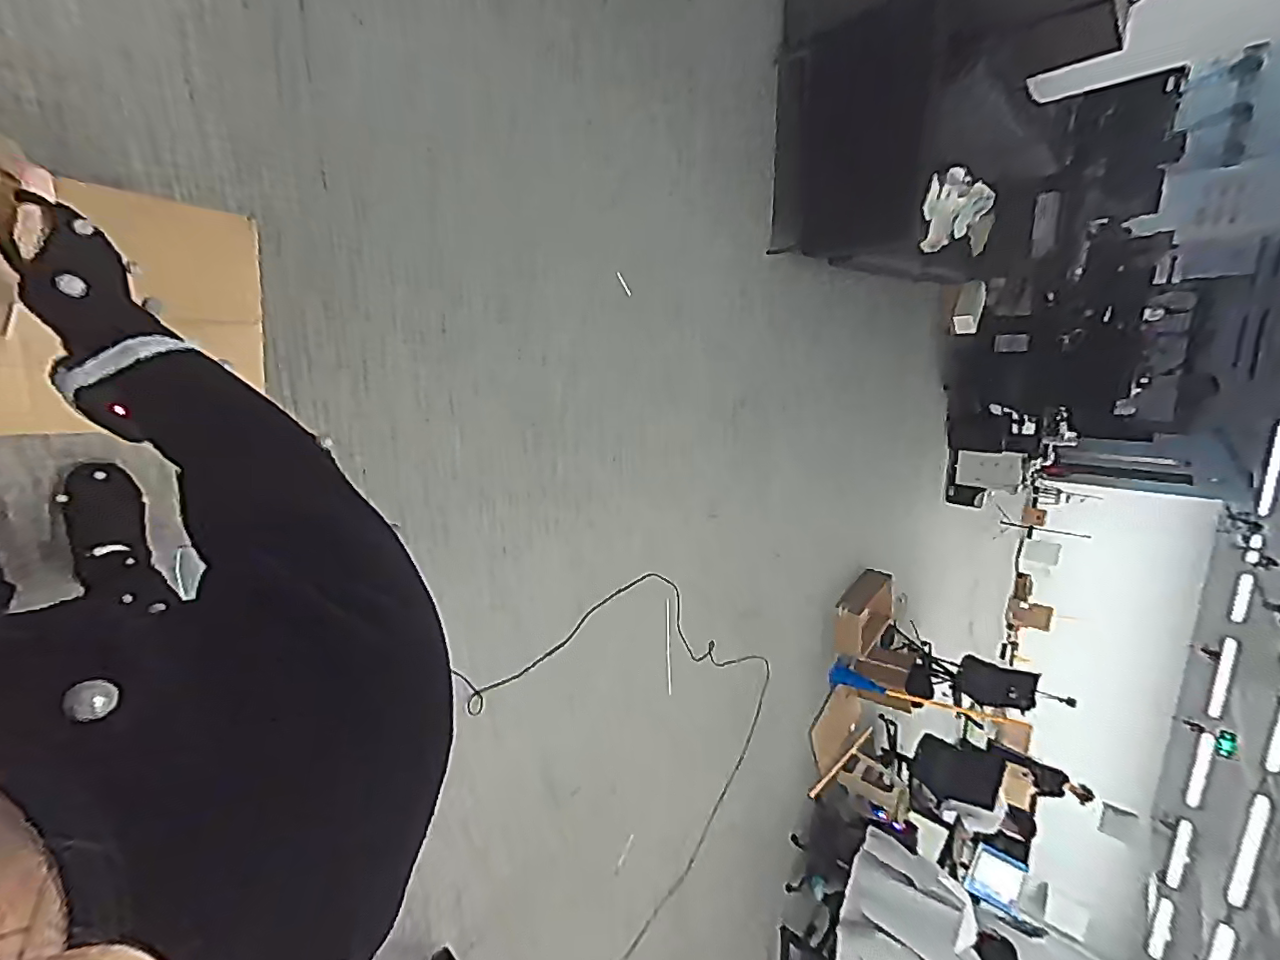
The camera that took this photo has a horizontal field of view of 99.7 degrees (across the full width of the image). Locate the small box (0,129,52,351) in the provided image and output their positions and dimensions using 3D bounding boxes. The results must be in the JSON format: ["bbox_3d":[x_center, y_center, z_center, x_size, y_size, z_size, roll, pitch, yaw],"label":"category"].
[{"bbox_3d":[-0.619,-0.224,0.419,0.168,0.176,0.179,-57,153,13],"label":"small box"}]
